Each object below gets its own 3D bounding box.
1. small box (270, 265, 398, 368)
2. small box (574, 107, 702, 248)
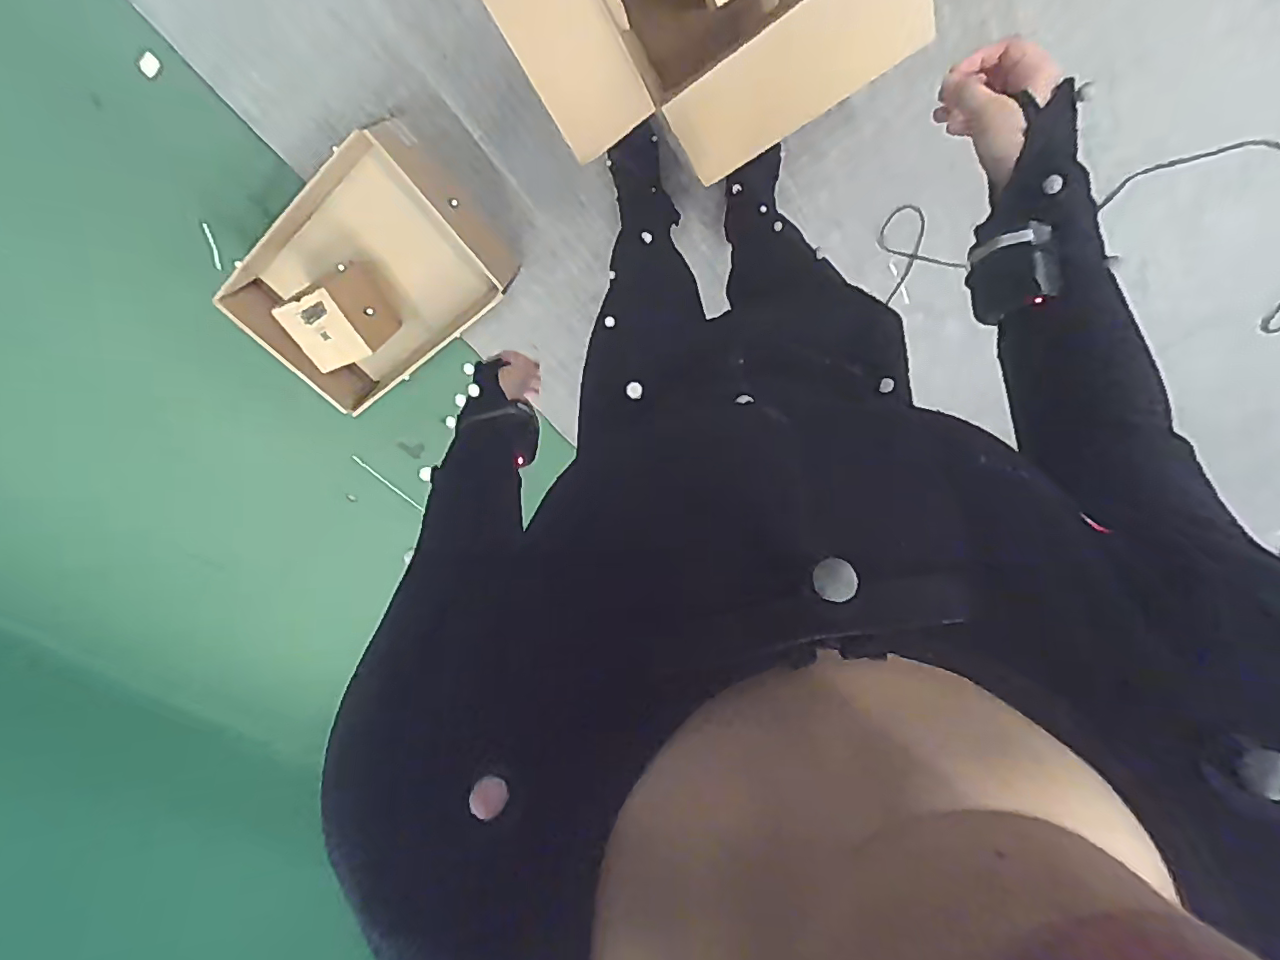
[{"bbox_3d":[-0.738,-0.407,1.324,0.168,0.176,0.179,-14,127,16],"label":"small box"},{"bbox_3d":[0.003,-0.616,1.109,0.176,0.168,0.179,19,110,-46],"label":"small box"}]
